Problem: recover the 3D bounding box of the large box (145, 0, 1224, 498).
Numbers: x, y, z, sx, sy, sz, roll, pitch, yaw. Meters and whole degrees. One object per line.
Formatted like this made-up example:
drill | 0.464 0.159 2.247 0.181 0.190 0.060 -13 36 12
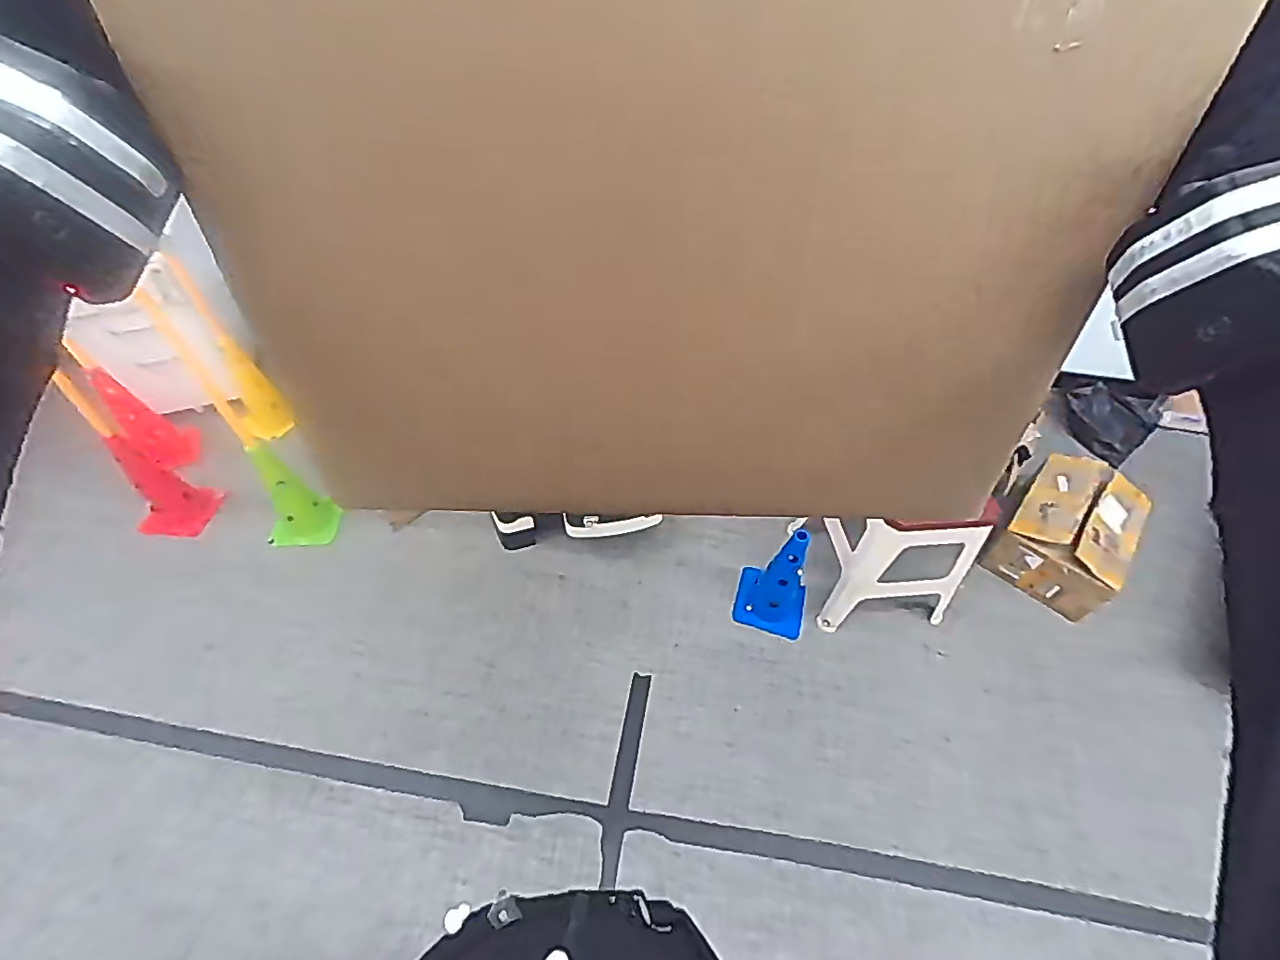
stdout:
large box | 0.013 -0.200 0.363 0.408 0.320 0.320 2 40 -1
